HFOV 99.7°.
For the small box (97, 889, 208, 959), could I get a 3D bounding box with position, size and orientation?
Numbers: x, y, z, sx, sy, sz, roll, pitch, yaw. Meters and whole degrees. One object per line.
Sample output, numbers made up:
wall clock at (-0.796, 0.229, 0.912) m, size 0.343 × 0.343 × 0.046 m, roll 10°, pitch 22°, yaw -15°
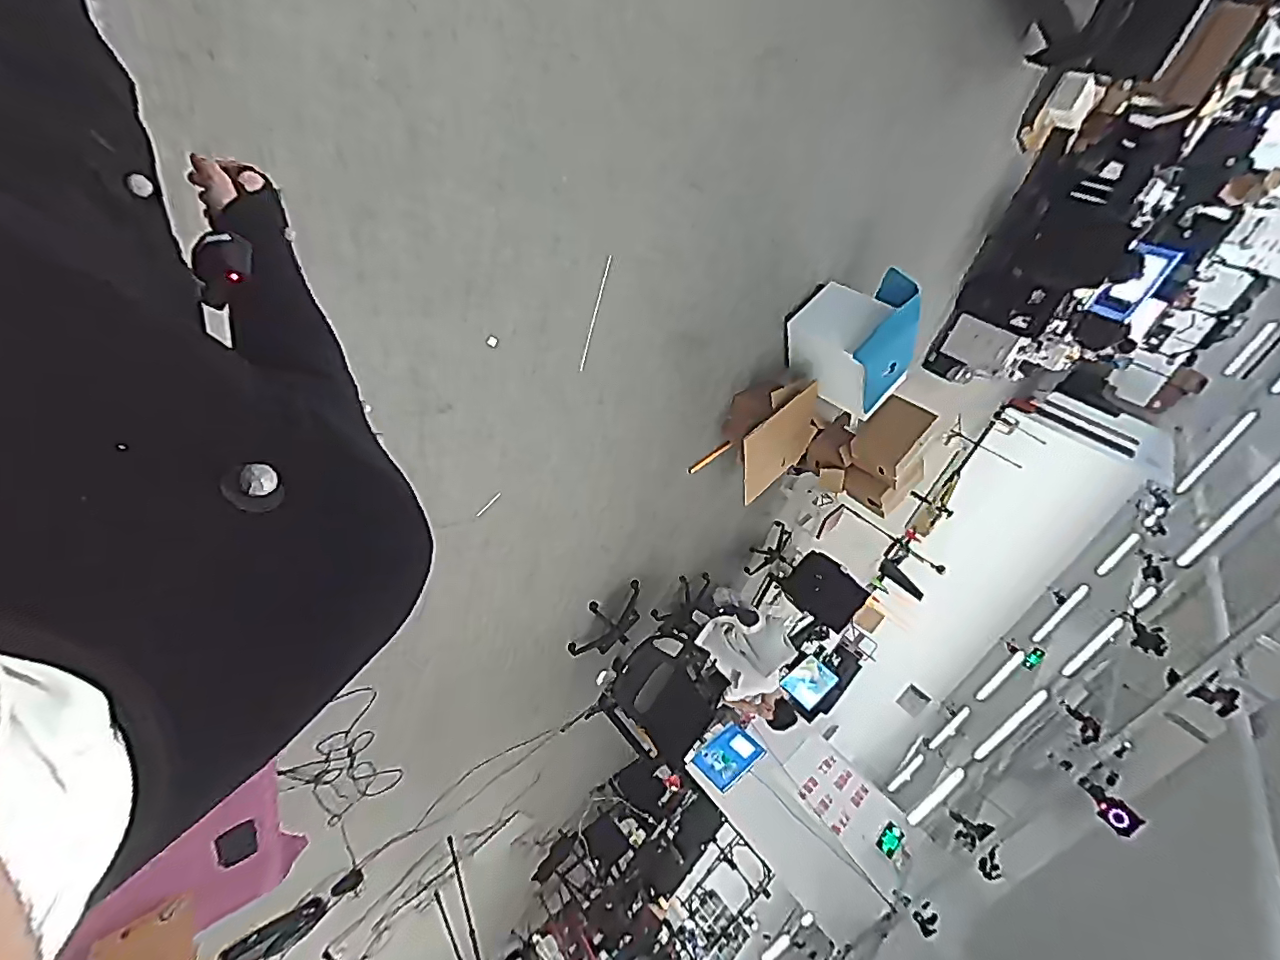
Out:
small box at (-1.133, 1.110, 1.263) m, size 0.168 × 0.176 × 0.179 m, roll -14°, pitch 135°, yaw -43°
